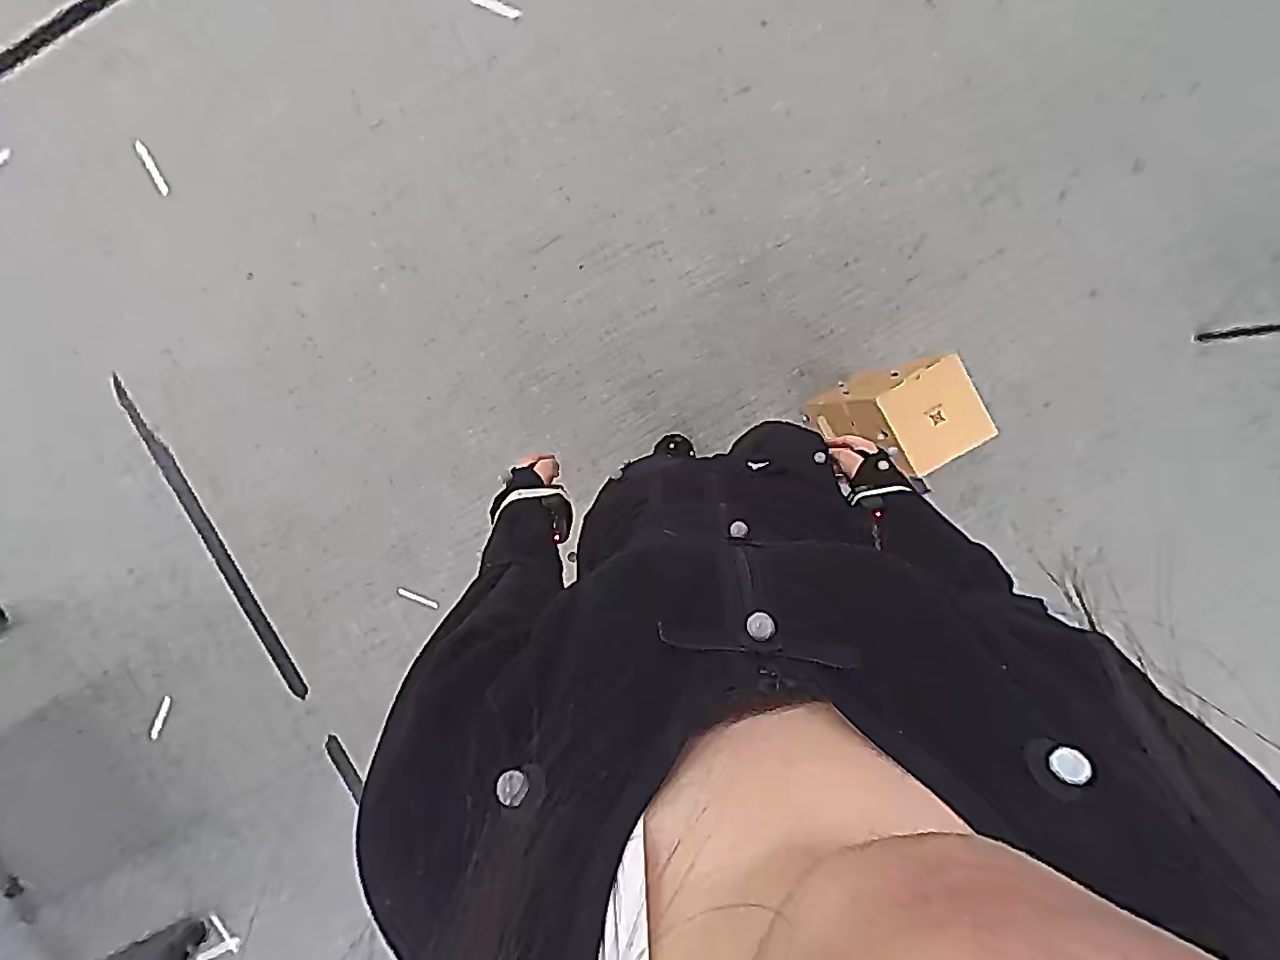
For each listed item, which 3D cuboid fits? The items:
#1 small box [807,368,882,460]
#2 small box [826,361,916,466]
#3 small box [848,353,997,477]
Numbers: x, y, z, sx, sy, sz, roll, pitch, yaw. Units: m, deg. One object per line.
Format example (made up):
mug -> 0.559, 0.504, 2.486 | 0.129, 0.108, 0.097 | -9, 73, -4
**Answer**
small box -> 0.548, -0.165, 1.385 | 0.179, 0.176, 0.168 | -30, 94, 4
small box -> 0.544, -0.147, 1.224 | 0.179, 0.176, 0.168 | -30, 95, 4
small box -> 0.542, -0.128, 1.063 | 0.168, 0.176, 0.179 | -30, 95, 5
